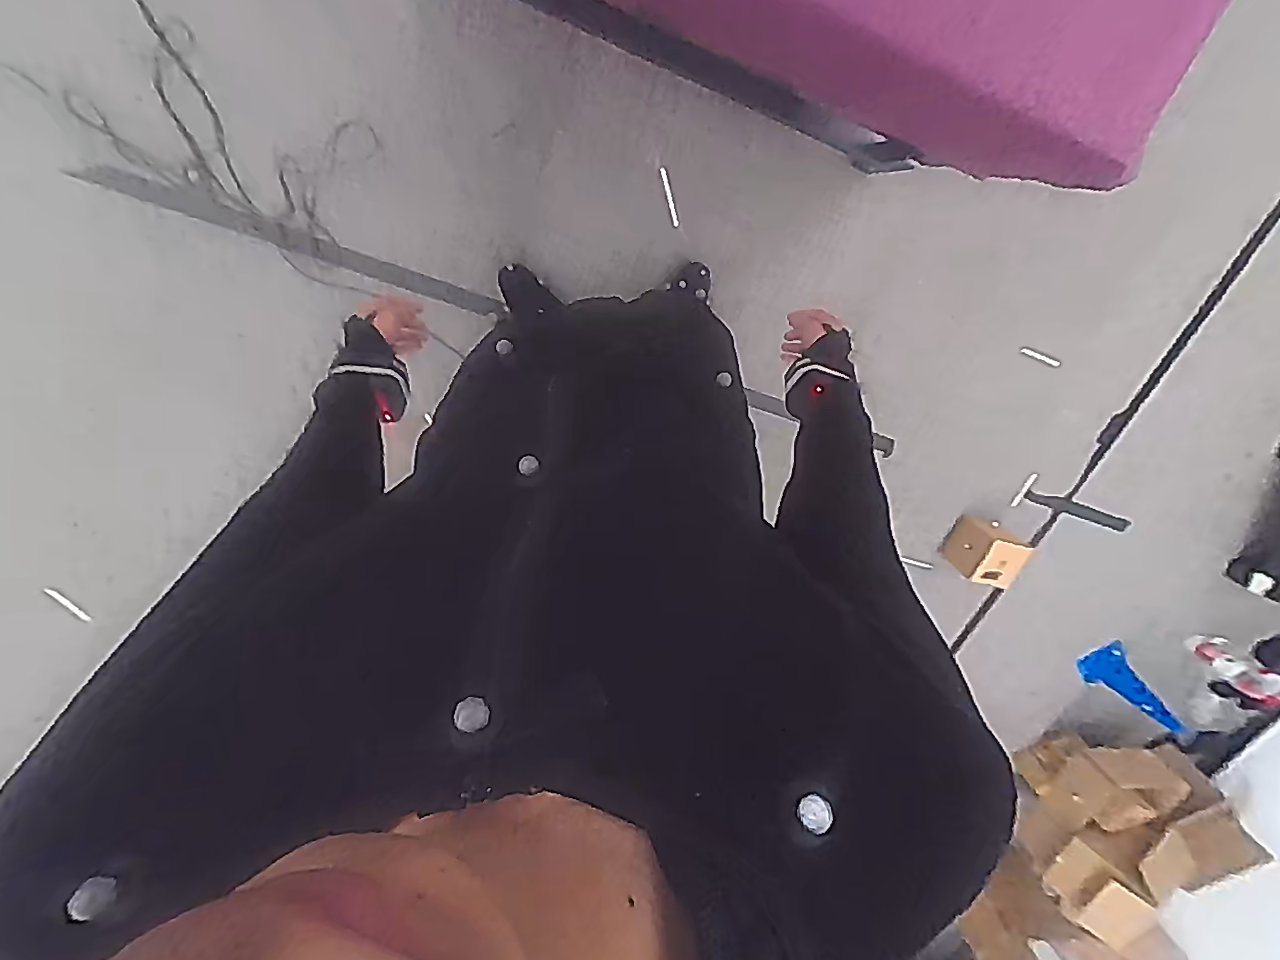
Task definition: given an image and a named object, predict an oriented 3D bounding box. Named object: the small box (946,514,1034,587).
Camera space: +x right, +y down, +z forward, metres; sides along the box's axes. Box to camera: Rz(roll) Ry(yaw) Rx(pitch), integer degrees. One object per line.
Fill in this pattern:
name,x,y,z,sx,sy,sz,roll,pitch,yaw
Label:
small box,1.232,0.249,1.923,0.168,0.176,0.179,13,115,-13
